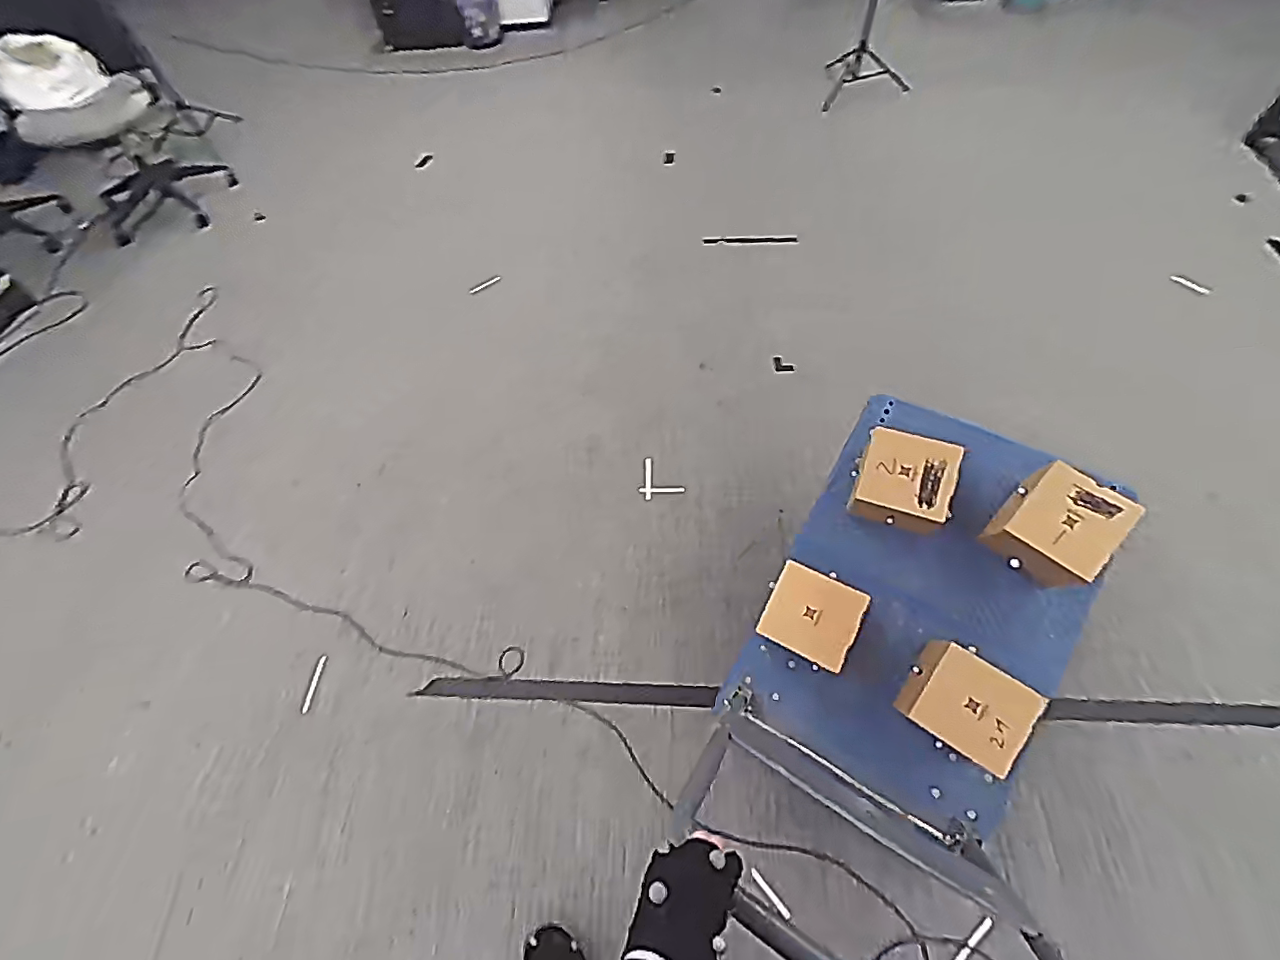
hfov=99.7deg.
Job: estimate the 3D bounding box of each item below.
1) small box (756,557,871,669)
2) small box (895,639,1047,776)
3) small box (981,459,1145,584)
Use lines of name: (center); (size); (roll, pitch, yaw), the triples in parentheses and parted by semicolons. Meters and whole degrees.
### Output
small box: (0.362, 0.284, 1.156); (0.179, 0.176, 0.168); (24, 82, 18)
small box: (0.624, 0.428, 1.048); (0.179, 0.176, 0.168); (32, 86, 20)
small box: (0.830, 0.091, 1.086); (0.168, 0.176, 0.179); (38, 88, 20)
